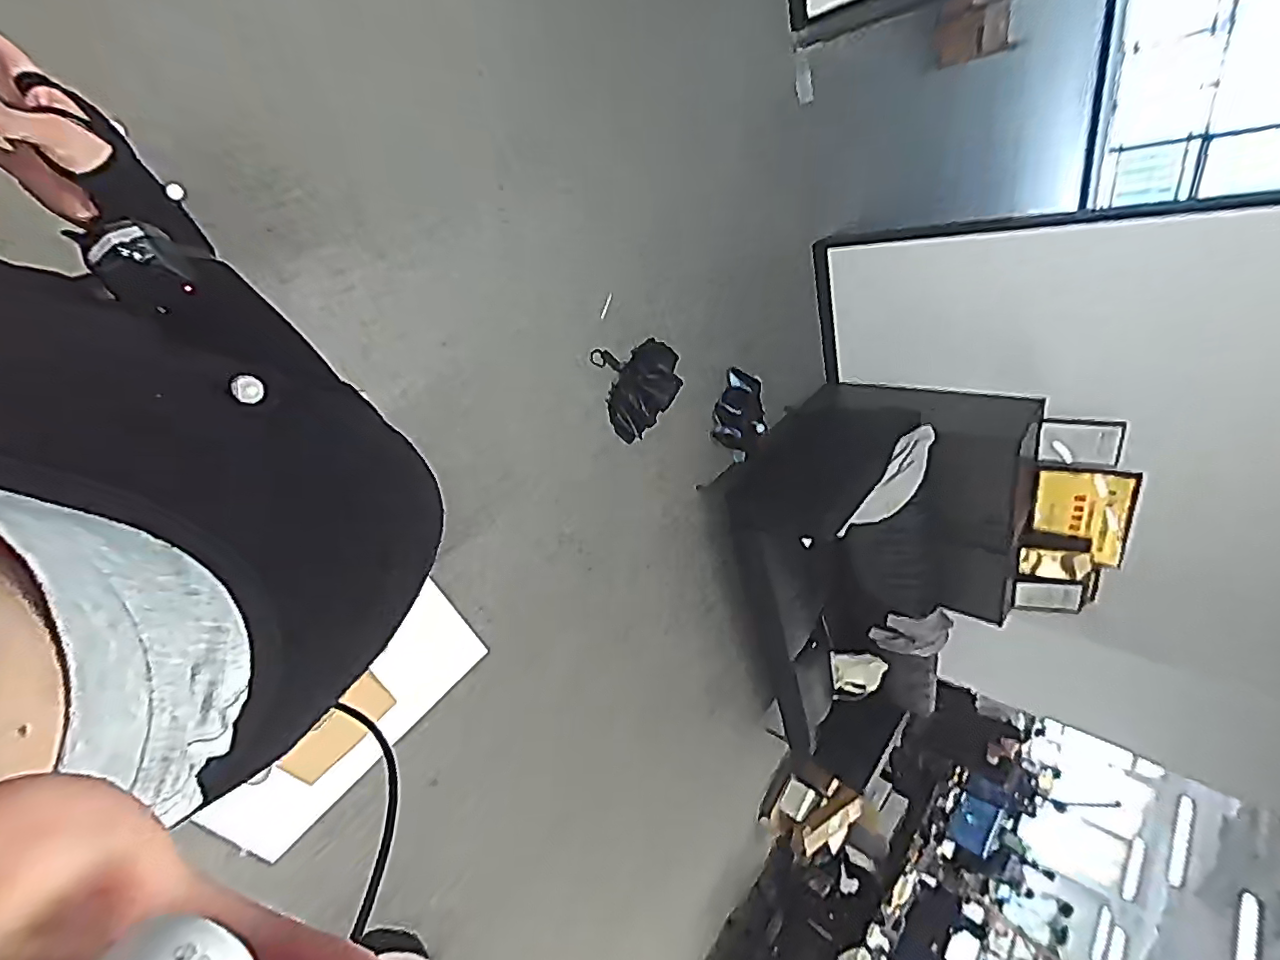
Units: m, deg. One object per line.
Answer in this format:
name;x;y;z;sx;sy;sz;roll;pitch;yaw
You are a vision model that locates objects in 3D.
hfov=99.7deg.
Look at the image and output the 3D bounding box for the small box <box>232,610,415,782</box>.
small box;-0.514;0.342;0.884;0.168;0.176;0.179;-47;132;-27
